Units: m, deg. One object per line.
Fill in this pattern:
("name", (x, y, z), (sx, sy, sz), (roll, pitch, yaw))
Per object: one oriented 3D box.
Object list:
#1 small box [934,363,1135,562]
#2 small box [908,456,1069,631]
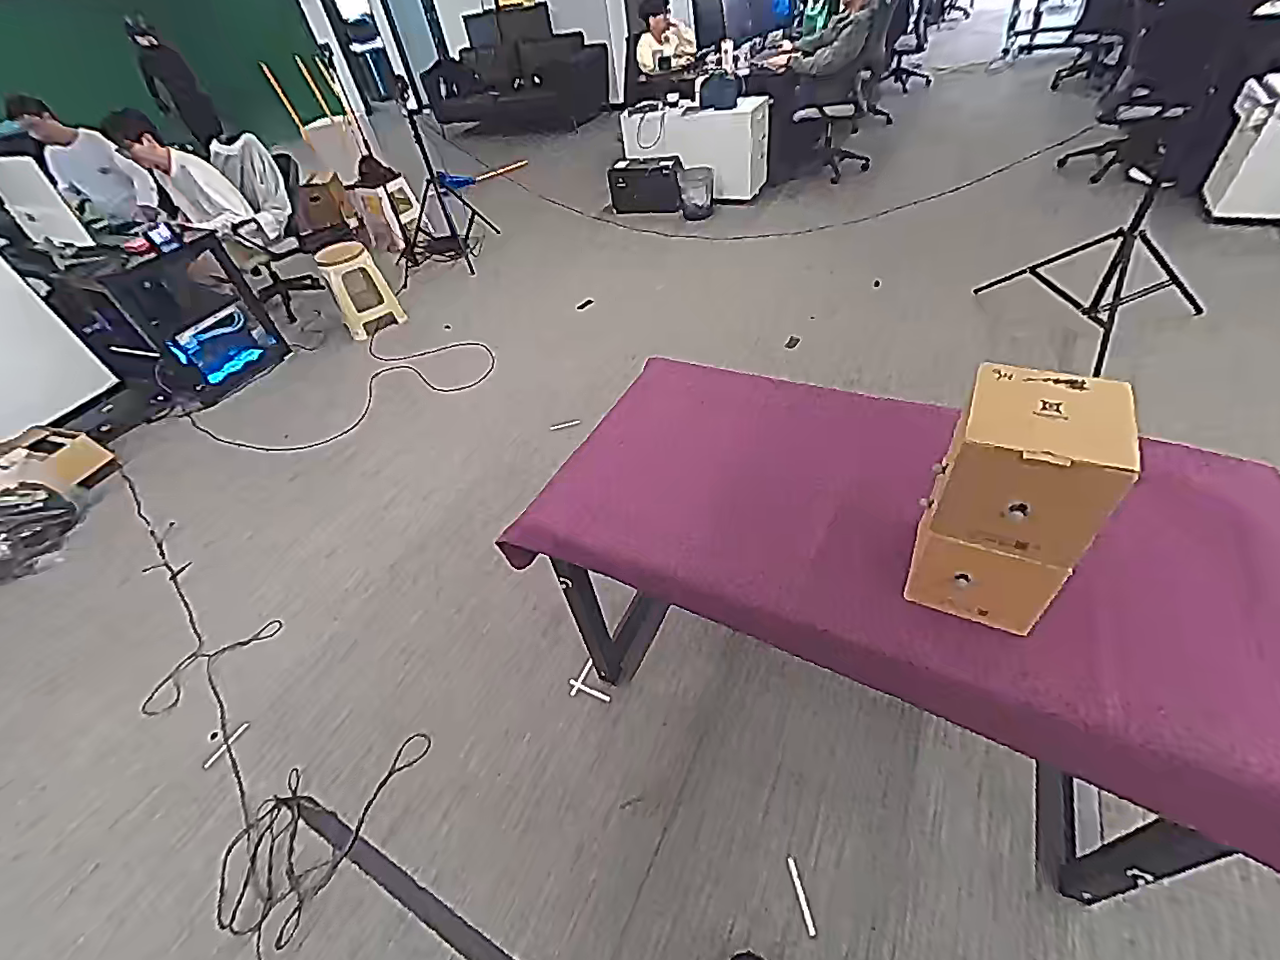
("small box", (0.497, -0.023, 0.700), (0.168, 0.176, 0.179), (17, 50, 25))
("small box", (0.516, 0.095, 0.811), (0.168, 0.176, 0.179), (16, 49, 25))
